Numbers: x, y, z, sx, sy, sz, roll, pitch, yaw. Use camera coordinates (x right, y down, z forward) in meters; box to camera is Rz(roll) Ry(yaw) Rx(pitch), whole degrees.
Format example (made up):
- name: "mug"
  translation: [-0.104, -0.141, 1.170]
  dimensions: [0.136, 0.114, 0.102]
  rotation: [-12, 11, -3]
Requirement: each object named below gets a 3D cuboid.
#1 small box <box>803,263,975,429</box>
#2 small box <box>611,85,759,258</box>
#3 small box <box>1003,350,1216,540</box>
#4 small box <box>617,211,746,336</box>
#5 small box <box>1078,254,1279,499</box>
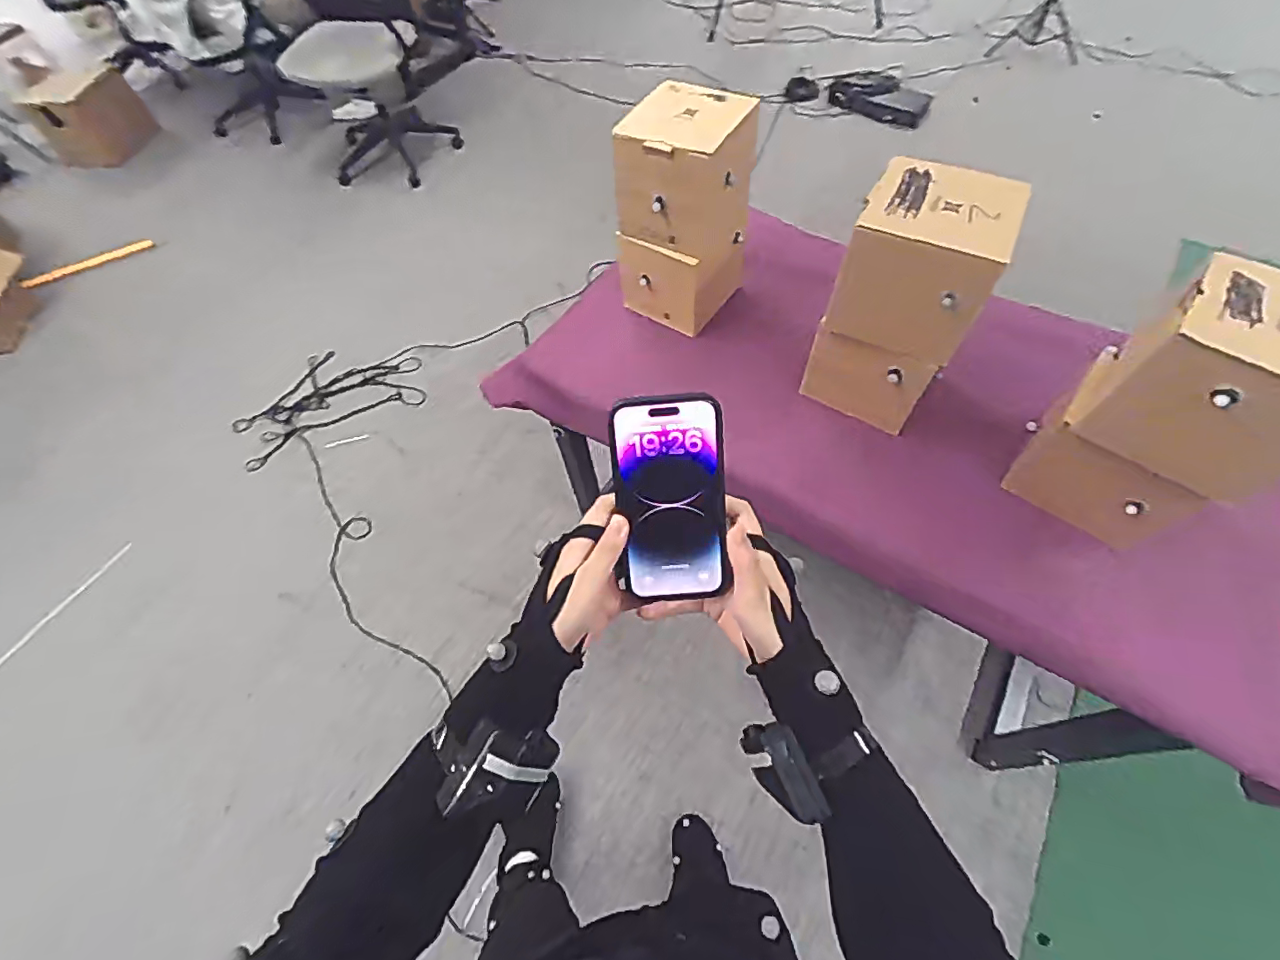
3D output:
- name: "small box"
  translation: [0.389, -0.207, 0.870]
  dimensions: [0.179, 0.176, 0.168]
  rotation: [29, 65, 20]
- name: "small box"
  translation: [0.075, -0.493, 0.874]
  dimensions: [0.168, 0.176, 0.179]
  rotation: [25, 64, 17]
- name: "small box"
  translation: [0.660, -0.039, 0.751]
  dimensions: [0.179, 0.176, 0.168]
  rotation: [35, 67, 23]
- name: "small box"
  translation: [0.080, -0.402, 1.011]
  dimensions: [0.168, 0.176, 0.179]
  rotation: [30, 65, 20]
- name: "small box"
  translation: [0.649, -0.109, 0.602]
  dimensions: [0.179, 0.176, 0.168]
  rotation: [35, 67, 22]
